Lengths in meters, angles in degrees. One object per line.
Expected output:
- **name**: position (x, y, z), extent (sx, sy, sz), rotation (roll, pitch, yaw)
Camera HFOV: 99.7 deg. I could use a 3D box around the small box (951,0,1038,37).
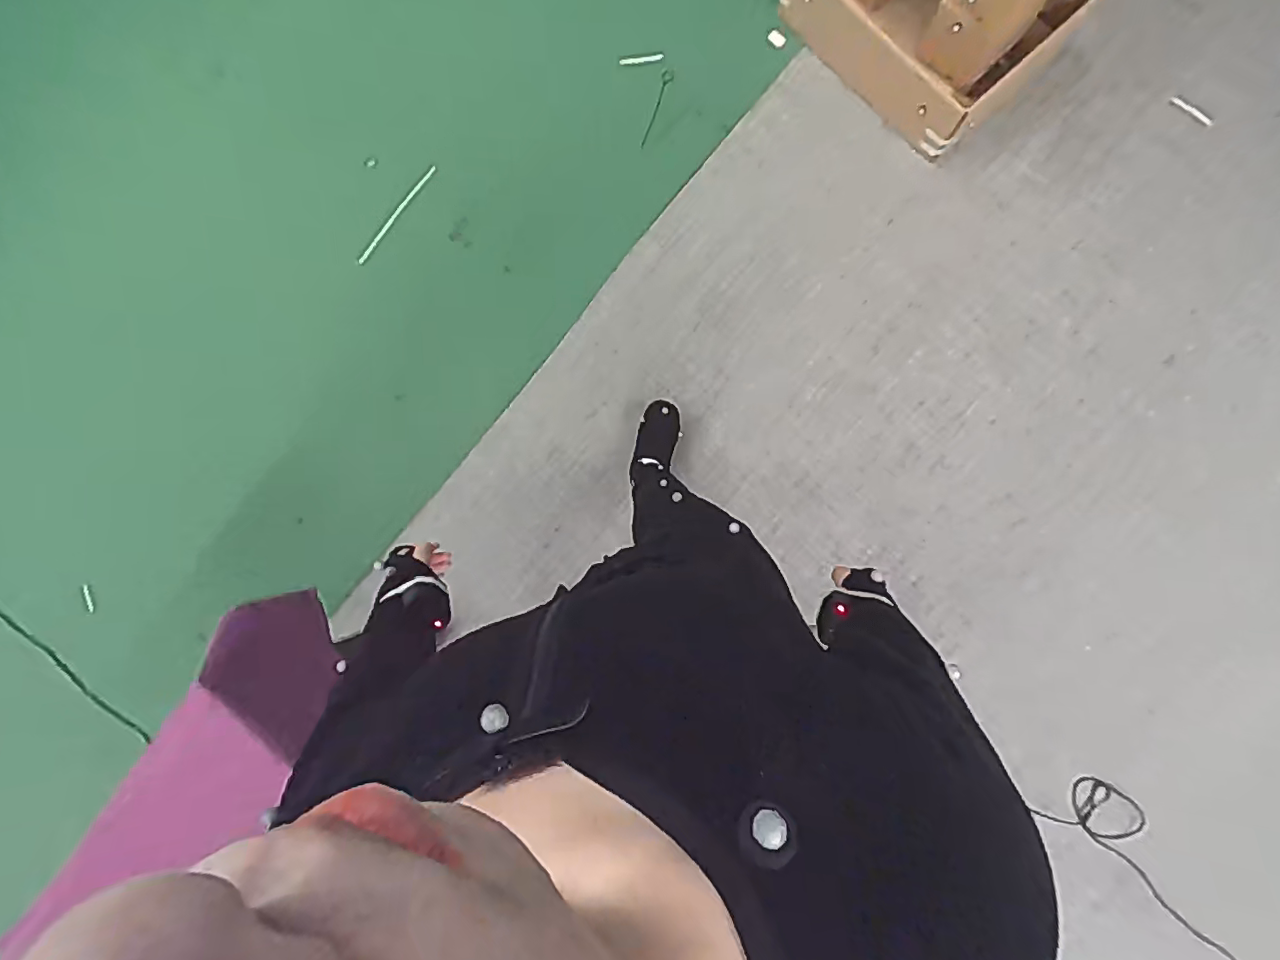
- **small box**: position (0.781, -1.089, 1.113), extent (0.179, 0.176, 0.168), rotation (-42, 83, 6)
